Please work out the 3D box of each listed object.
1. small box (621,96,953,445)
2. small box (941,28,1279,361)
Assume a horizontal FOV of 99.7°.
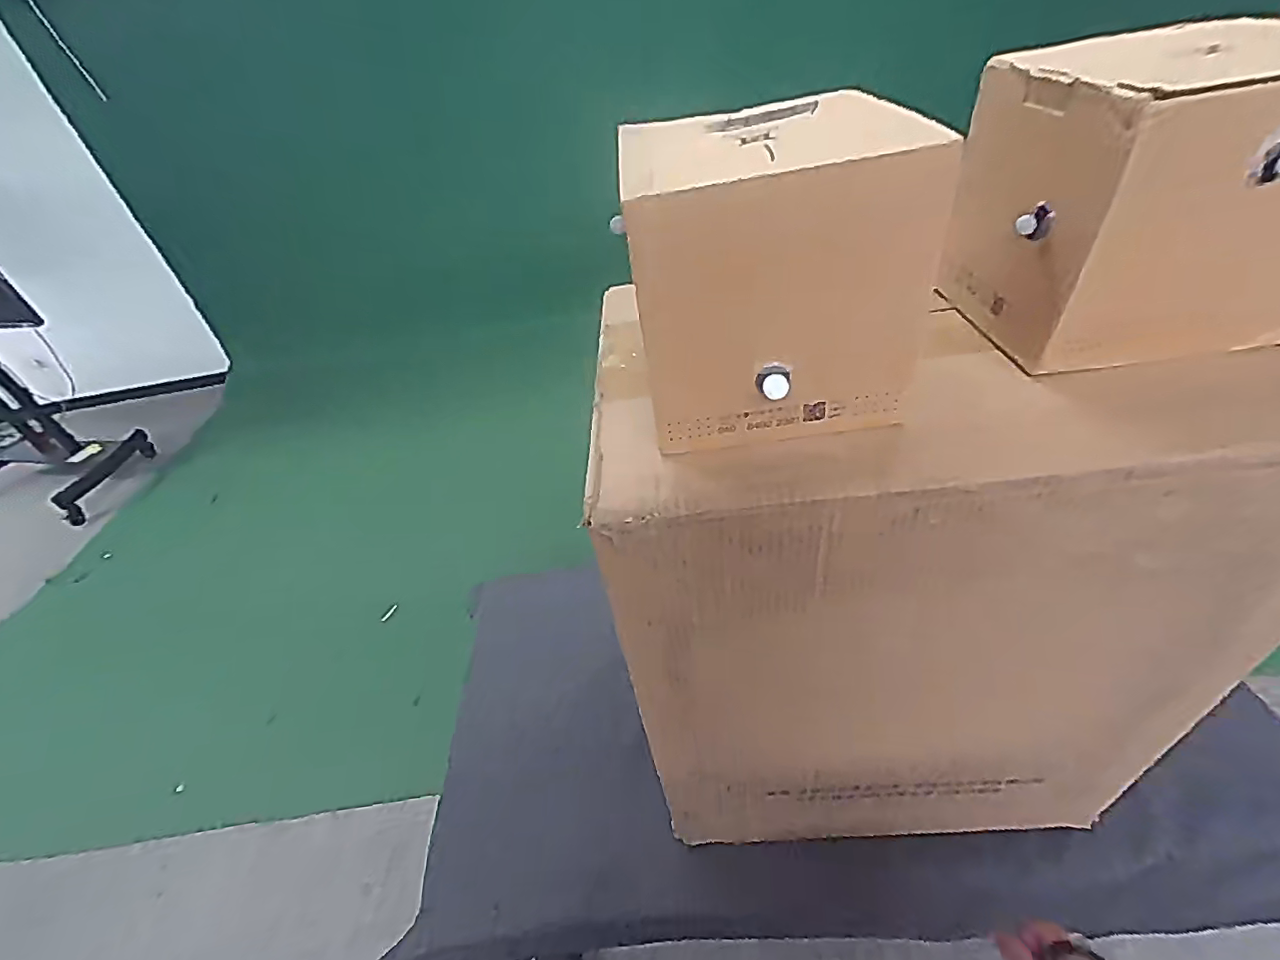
[{"bbox_3d":[0.081,-0.147,0.382,0.168,0.176,0.179,-7,42,5],"label":"small box"},{"bbox_3d":[0.342,-0.198,0.384,0.179,0.176,0.168,-5,43,2],"label":"small box"}]
